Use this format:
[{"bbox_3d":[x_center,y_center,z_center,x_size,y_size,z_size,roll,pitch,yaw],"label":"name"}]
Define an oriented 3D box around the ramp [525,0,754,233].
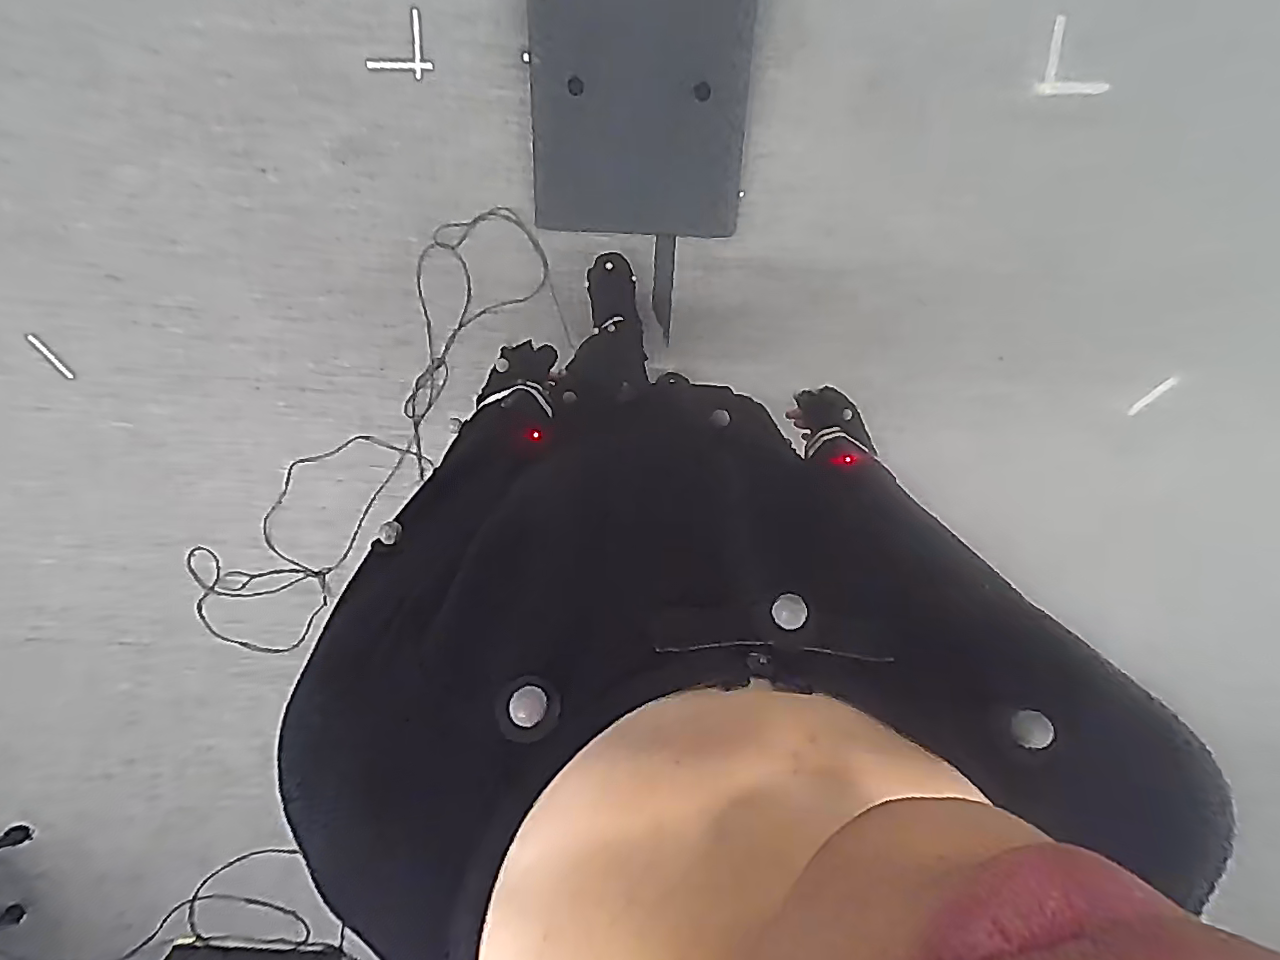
[{"bbox_3d":[0.003,-1.070,1.129,0.509,0.206,0.991,0,105,-1],"label":"ramp"}]
